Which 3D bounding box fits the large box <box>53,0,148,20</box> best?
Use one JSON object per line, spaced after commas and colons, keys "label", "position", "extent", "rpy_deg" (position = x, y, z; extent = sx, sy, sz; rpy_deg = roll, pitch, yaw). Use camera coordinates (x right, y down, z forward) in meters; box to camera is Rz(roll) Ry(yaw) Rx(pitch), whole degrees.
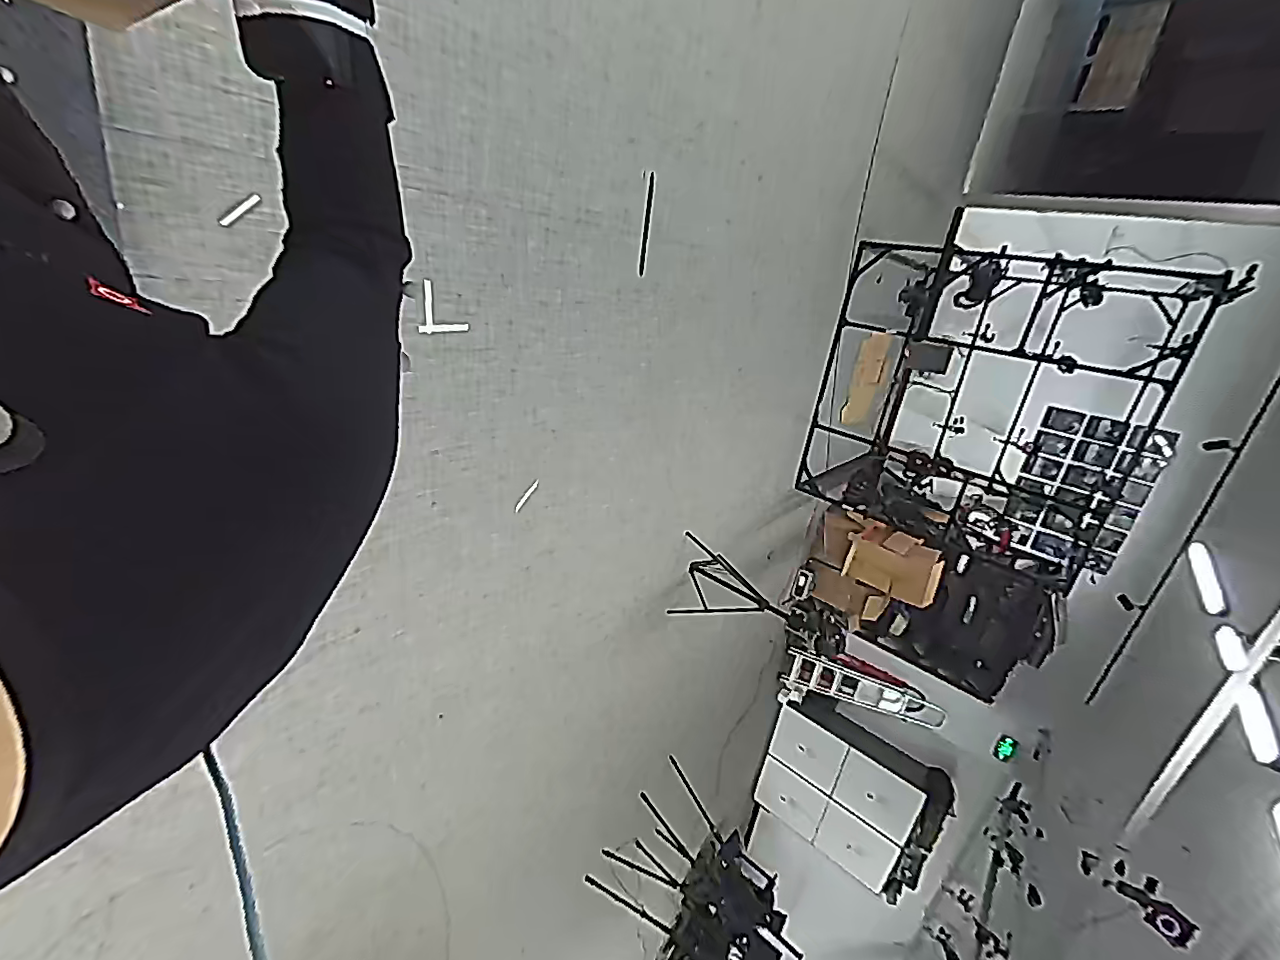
{"label": "large box", "position": [-0.449, -0.474, 0.204], "extent": [0.408, 0.320, 0.320], "rpy_deg": [-9, 119, -51]}
